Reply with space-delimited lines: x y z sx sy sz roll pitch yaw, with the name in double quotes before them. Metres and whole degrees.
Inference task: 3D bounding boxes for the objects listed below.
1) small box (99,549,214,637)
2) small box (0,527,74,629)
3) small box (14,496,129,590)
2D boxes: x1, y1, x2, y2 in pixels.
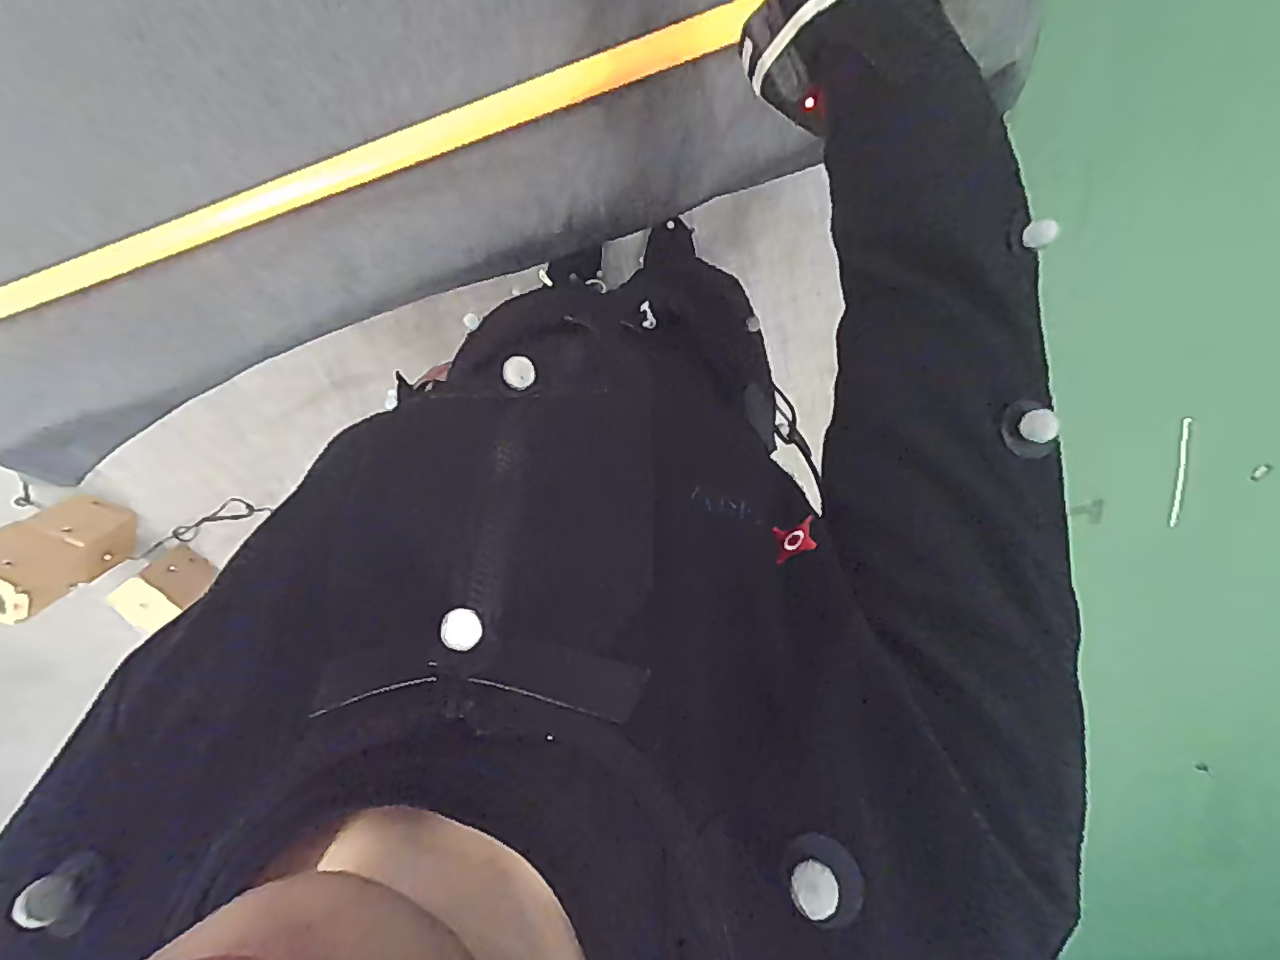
"small box" -1.461 0.339 1.649 0.179 0.176 0.168 -30 111 18
"small box" -1.668 0.253 1.430 0.179 0.176 0.168 30 115 -10
"small box" -1.646 0.179 1.576 0.168 0.176 0.179 25 116 -8
